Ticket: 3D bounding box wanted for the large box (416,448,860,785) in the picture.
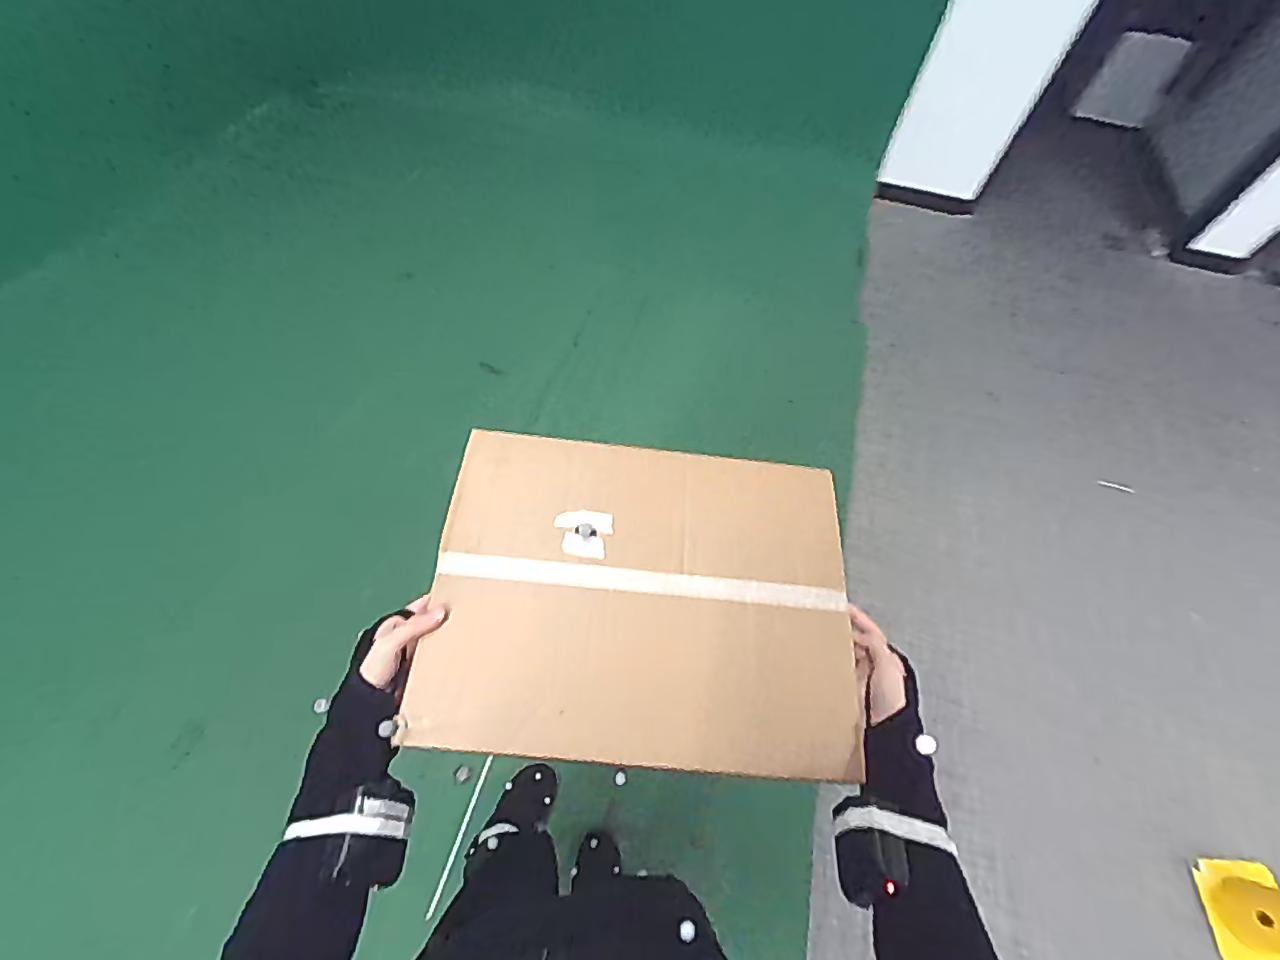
[{"bbox_3d":[0.003,0.186,0.677,0.408,0.320,0.320,7,60,-1],"label":"large box"}]
